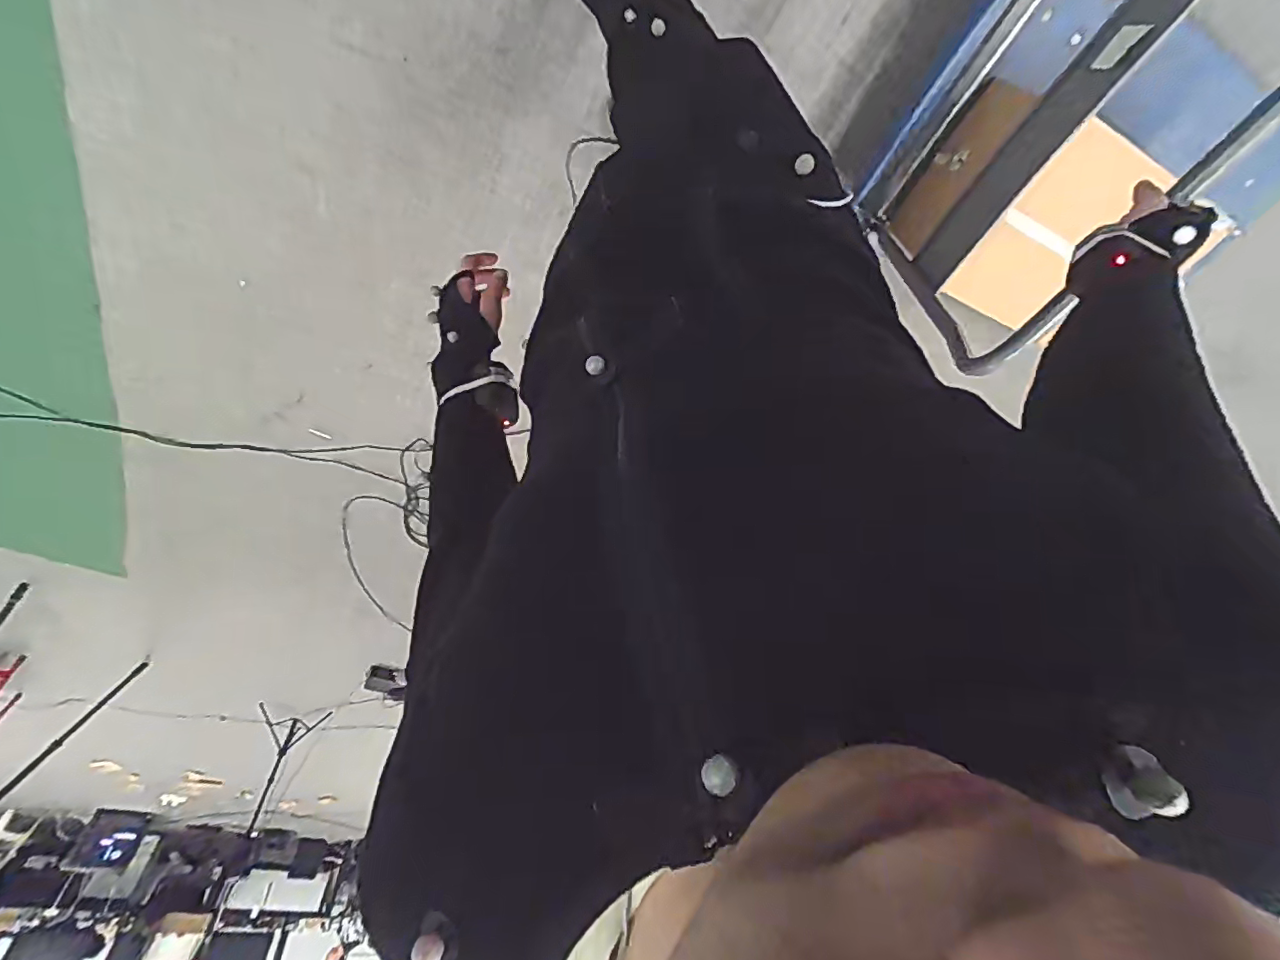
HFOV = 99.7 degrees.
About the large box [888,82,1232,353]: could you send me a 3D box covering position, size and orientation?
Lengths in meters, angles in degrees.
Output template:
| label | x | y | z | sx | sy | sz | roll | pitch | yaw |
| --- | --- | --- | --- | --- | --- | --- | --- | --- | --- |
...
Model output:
| label | x | y | z | sx | sy | sz | roll | pitch | yaw |
| --- | --- | --- | --- | --- | --- | --- | --- | --- | --- |
| large box | 0.807 | -0.526 | 1.101 | 0.408 | 0.320 | 0.320 | 17 | 133 | -18 |
